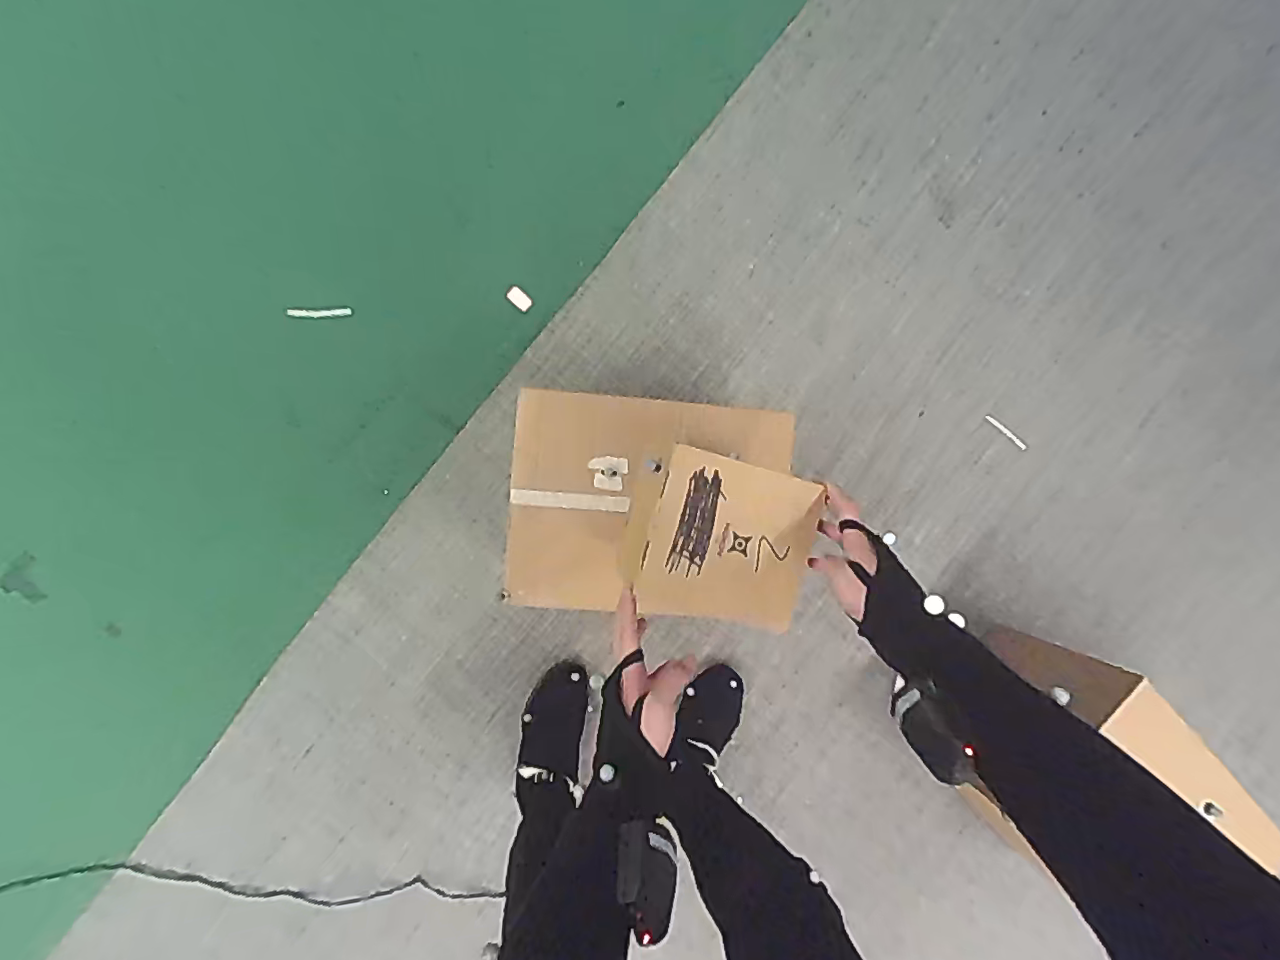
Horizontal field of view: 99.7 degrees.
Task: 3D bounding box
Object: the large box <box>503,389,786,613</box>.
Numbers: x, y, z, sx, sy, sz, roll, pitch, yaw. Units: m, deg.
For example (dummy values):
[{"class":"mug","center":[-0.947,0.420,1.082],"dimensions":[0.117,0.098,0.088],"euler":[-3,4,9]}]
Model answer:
[{"class":"large box","center":[0.003,0.028,0.934],"dimensions":[0.408,0.320,0.320],"euler":[4,91,-4]}]
